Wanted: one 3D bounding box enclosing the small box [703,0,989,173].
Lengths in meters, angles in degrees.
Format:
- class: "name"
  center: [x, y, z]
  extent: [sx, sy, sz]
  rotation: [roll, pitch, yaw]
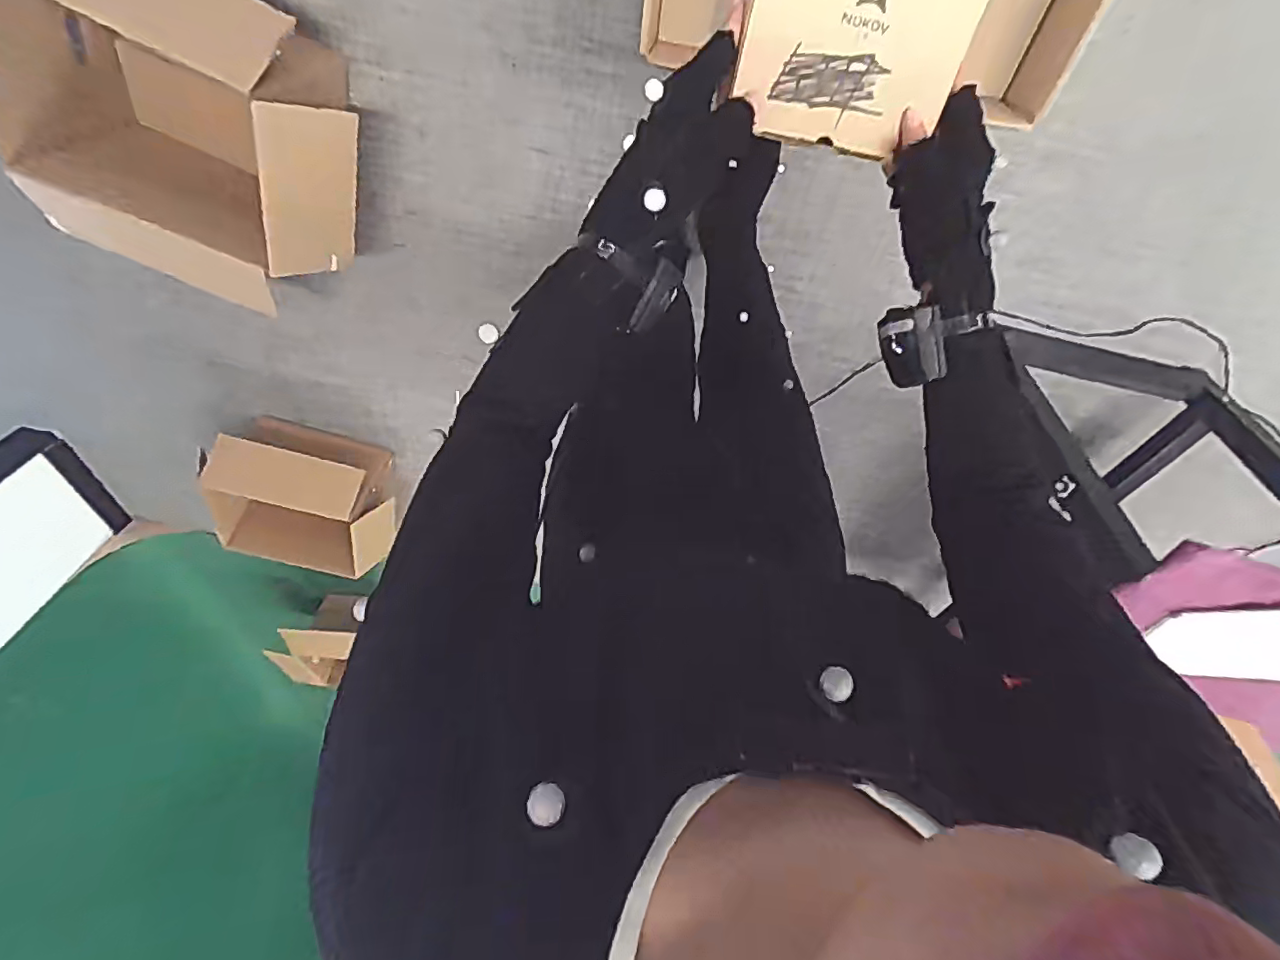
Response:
- class: "small box"
  center: [0.156, -0.376, 0.444]
  extent: [0.168, 0.176, 0.179]
  rotation: [7, 124, -10]
